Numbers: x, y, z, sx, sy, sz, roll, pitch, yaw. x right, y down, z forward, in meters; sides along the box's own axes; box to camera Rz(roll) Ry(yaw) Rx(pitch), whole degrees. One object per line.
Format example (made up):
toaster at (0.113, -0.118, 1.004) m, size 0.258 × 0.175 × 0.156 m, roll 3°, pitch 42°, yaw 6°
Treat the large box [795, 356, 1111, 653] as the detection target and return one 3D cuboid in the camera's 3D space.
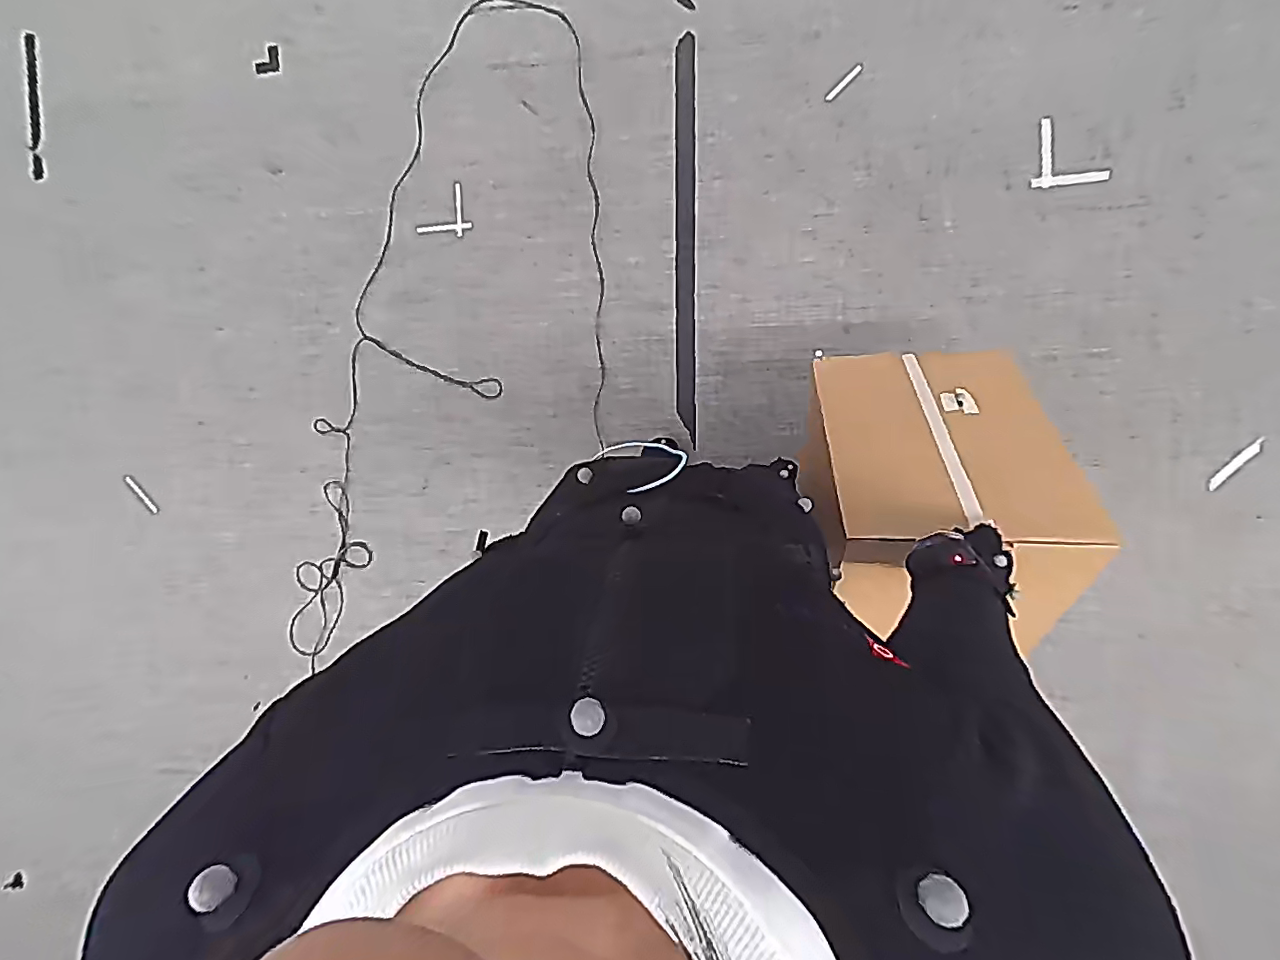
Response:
large box at (0.450, 0.036, 0.910) m, size 0.320 × 0.408 × 0.320 m, roll 1°, pitch 135°, yaw 7°
